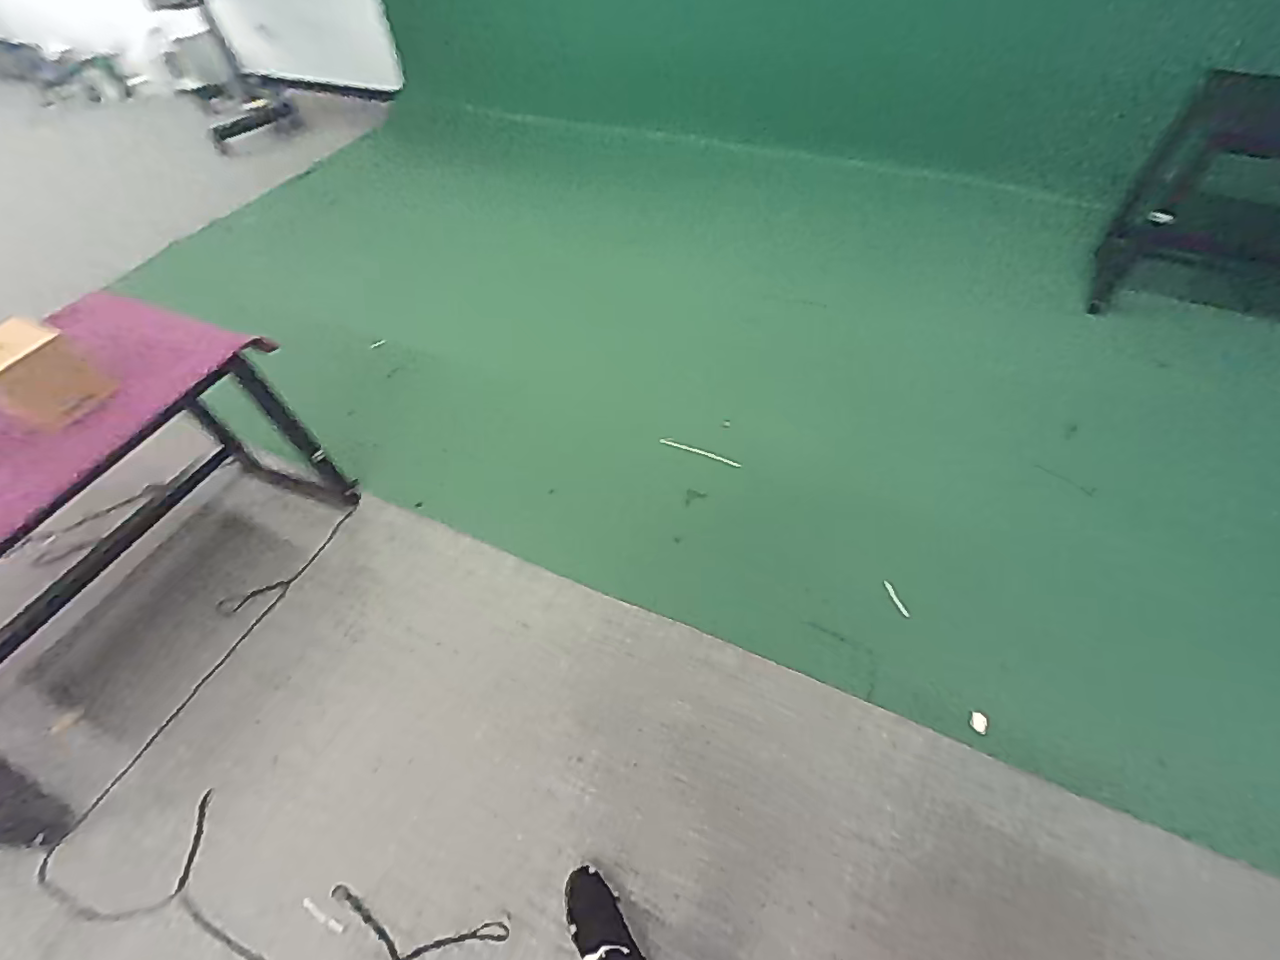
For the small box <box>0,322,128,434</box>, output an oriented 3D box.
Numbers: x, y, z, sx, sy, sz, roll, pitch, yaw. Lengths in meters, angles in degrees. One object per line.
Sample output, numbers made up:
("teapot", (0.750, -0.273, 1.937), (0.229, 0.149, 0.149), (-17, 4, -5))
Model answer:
("small box", (-1.363, -0.231, 1.245), (0.179, 0.176, 0.168), (20, 58, 19))
